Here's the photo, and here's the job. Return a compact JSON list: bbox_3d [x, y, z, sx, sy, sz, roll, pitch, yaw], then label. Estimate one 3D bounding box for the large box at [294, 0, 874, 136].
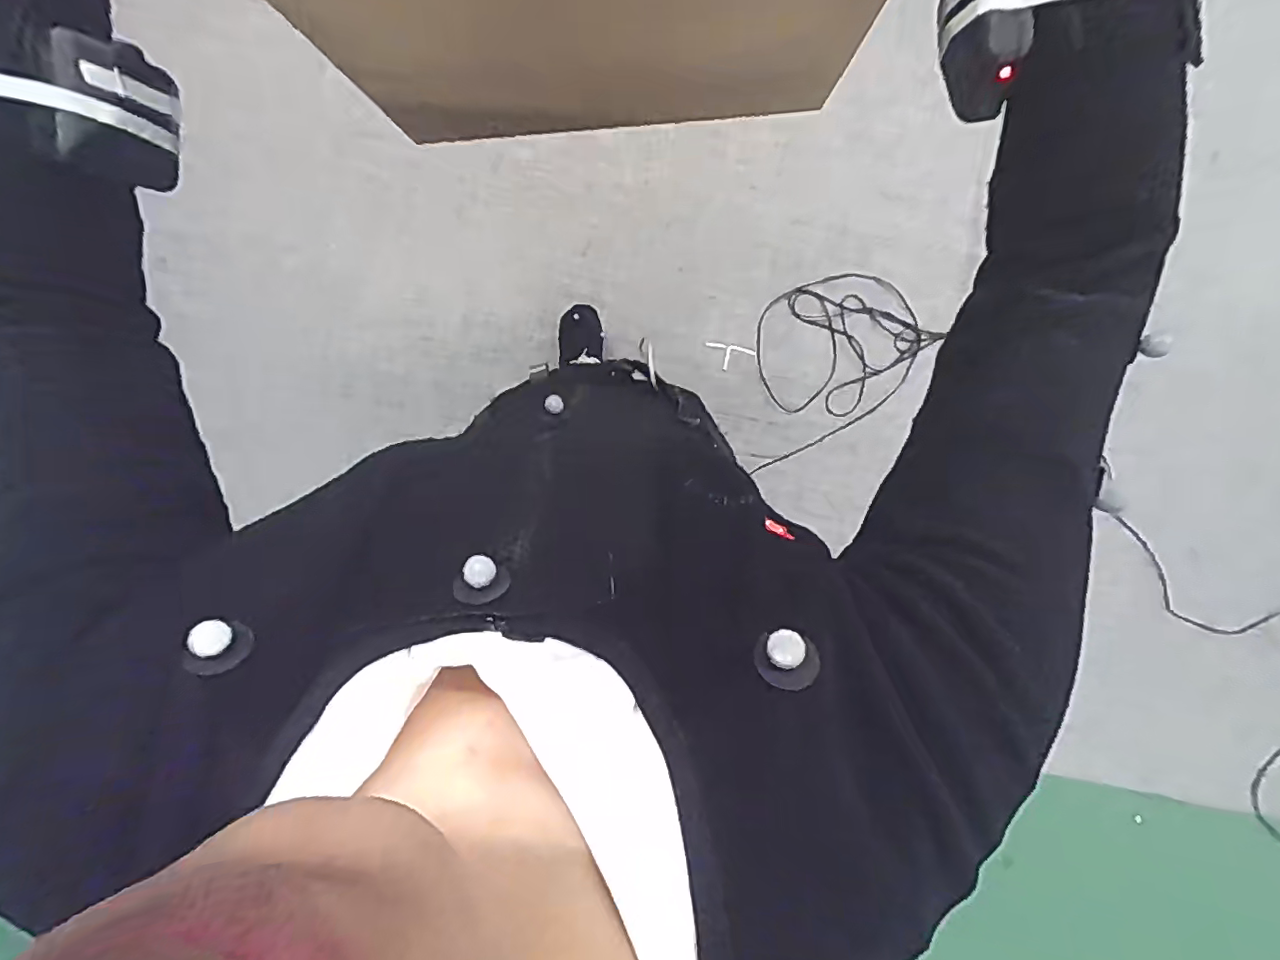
[{"bbox_3d":[-0.038,-0.474,0.356,0.408,0.320,0.320,-3,101,2],"label":"large box"}]
